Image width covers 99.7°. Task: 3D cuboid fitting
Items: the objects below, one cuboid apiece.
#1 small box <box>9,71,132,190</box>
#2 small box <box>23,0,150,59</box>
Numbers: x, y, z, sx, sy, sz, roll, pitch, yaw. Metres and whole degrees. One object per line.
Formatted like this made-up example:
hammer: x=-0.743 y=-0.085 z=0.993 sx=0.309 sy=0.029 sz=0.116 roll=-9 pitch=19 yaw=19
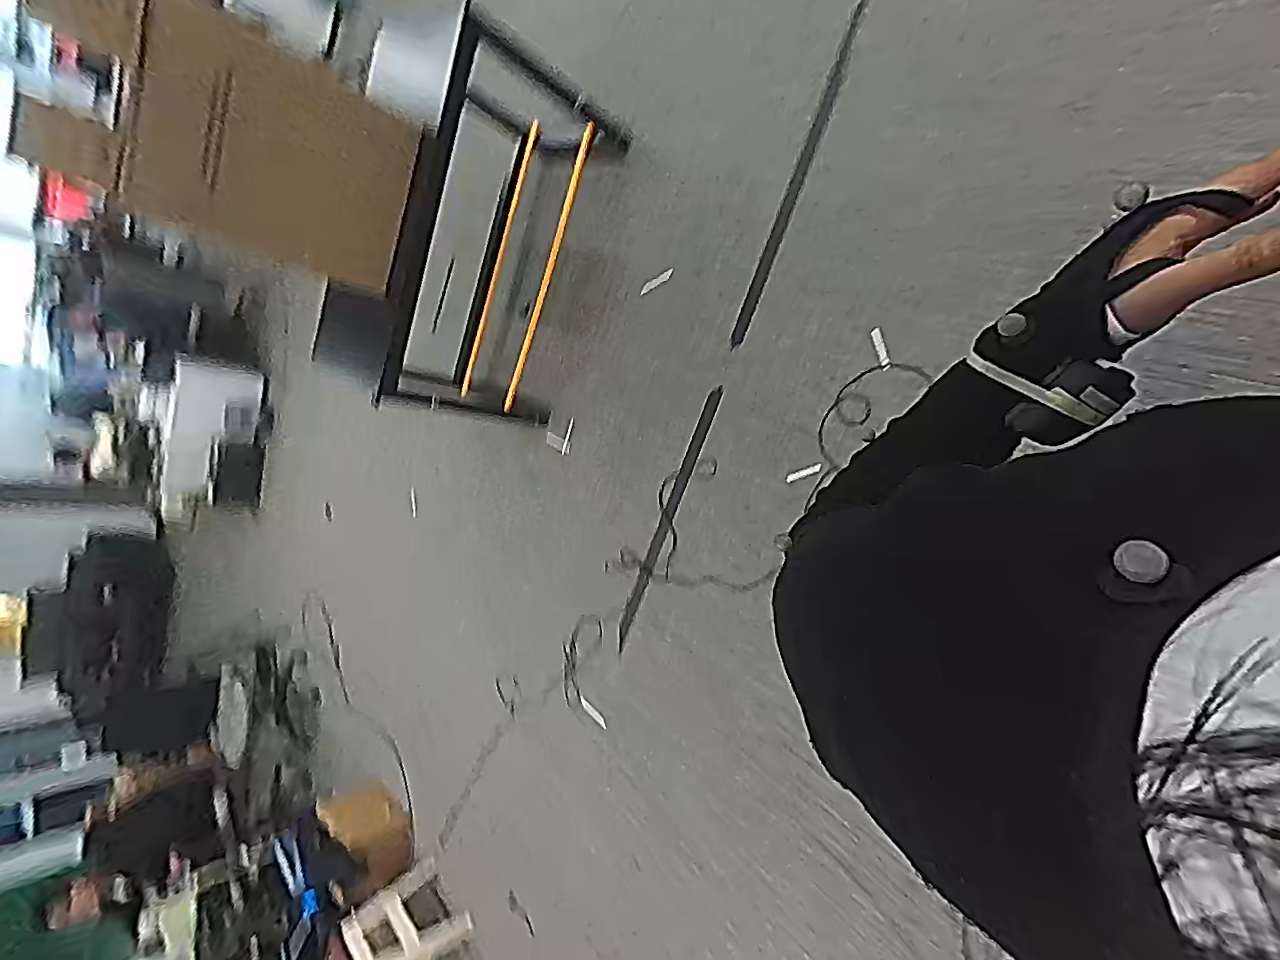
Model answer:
small box: x=-1.283 y=-0.779 z=1.219 sx=0.179 sy=0.176 sz=0.168 roll=28 pitch=104 yaw=36
small box: x=-1.154 y=-1.020 z=1.130 sx=0.179 sy=0.176 sz=0.168 roll=28 pitch=106 yaw=34
